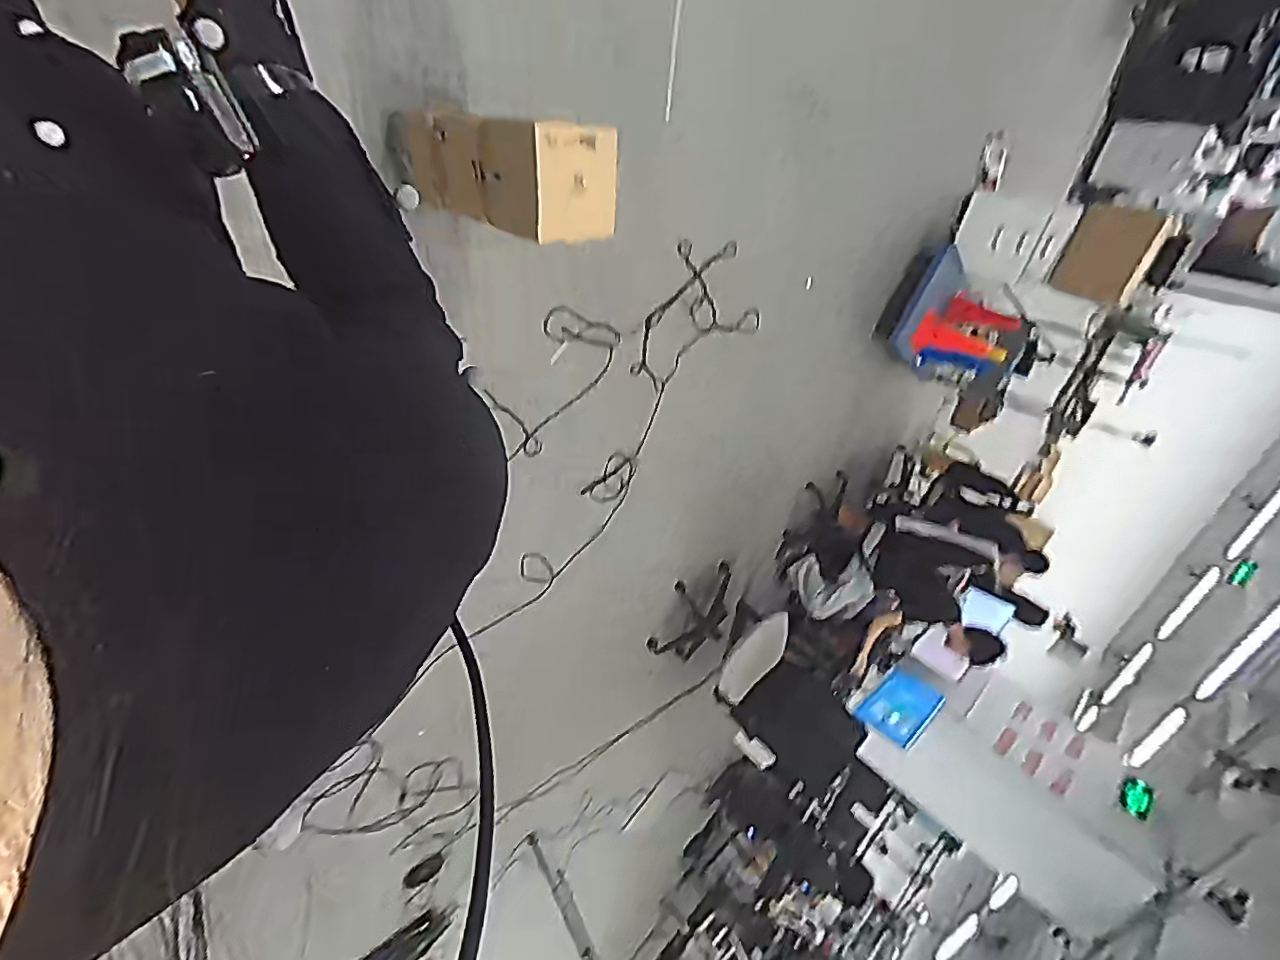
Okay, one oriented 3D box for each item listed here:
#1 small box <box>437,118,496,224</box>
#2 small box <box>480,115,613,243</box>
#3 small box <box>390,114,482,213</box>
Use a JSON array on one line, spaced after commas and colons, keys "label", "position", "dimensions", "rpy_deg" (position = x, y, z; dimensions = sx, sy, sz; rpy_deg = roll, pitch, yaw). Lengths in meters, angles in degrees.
[{"label": "small box", "position": [-0.280, -0.605, 1.059], "dimensions": [0.179, 0.176, 0.168], "rpy_deg": [-25, 133, -37]}, {"label": "small box", "position": [-0.167, -0.536, 0.963], "dimensions": [0.168, 0.176, 0.179], "rpy_deg": [-24, 133, -36]}, {"label": "small box", "position": [-0.400, -0.674, 1.149], "dimensions": [0.179, 0.176, 0.168], "rpy_deg": [-25, 132, -35]}]
